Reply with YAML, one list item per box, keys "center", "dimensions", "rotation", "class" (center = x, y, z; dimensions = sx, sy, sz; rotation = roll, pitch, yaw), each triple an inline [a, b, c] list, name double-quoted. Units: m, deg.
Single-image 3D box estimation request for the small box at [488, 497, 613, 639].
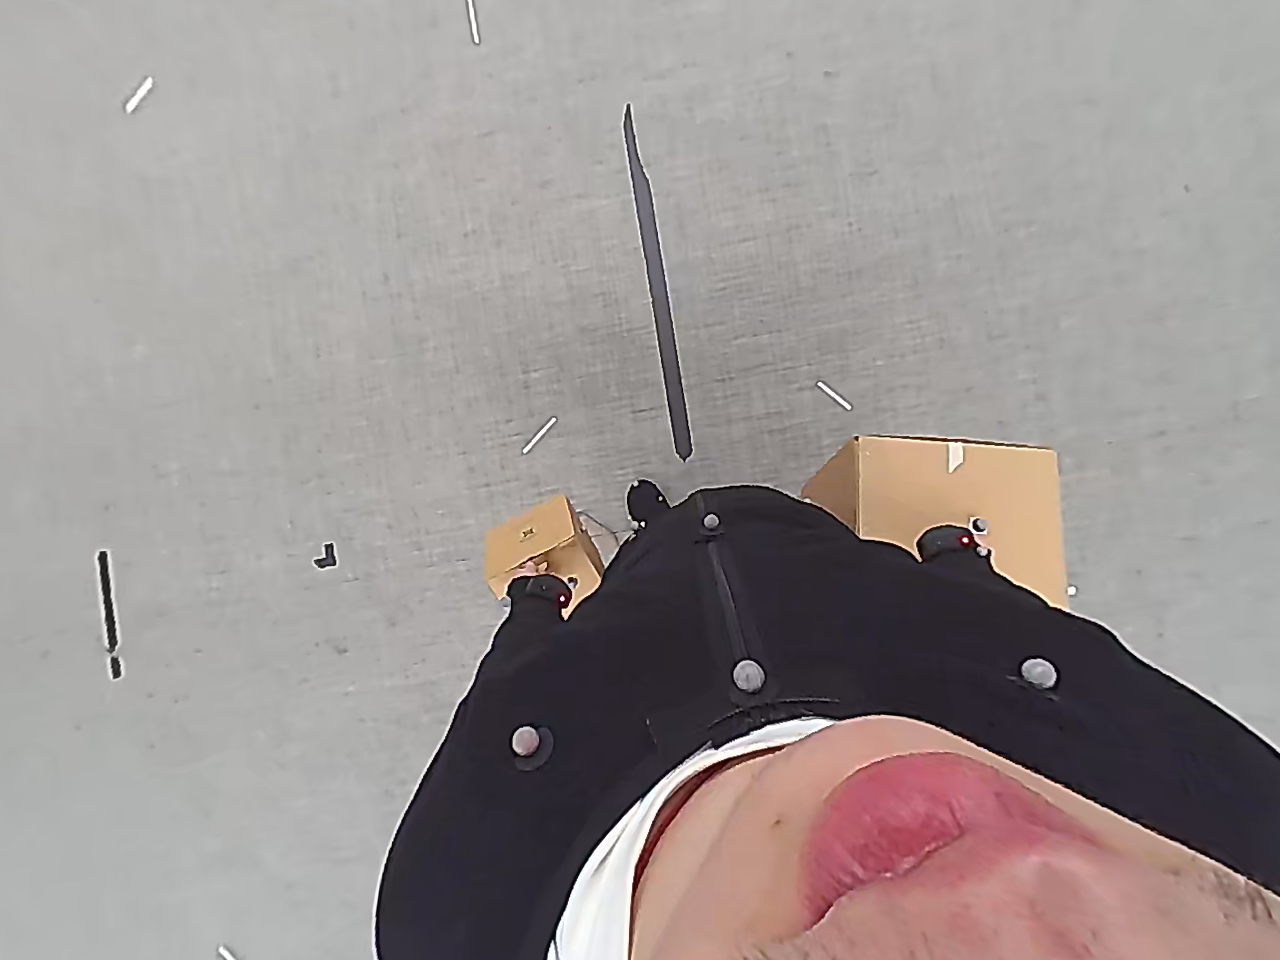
- center: [-0.163, 0.166, 0.997]
  dimensions: [0.168, 0.179, 0.176]
  rotation: [-27, 115, -2]
  class: "small box"
